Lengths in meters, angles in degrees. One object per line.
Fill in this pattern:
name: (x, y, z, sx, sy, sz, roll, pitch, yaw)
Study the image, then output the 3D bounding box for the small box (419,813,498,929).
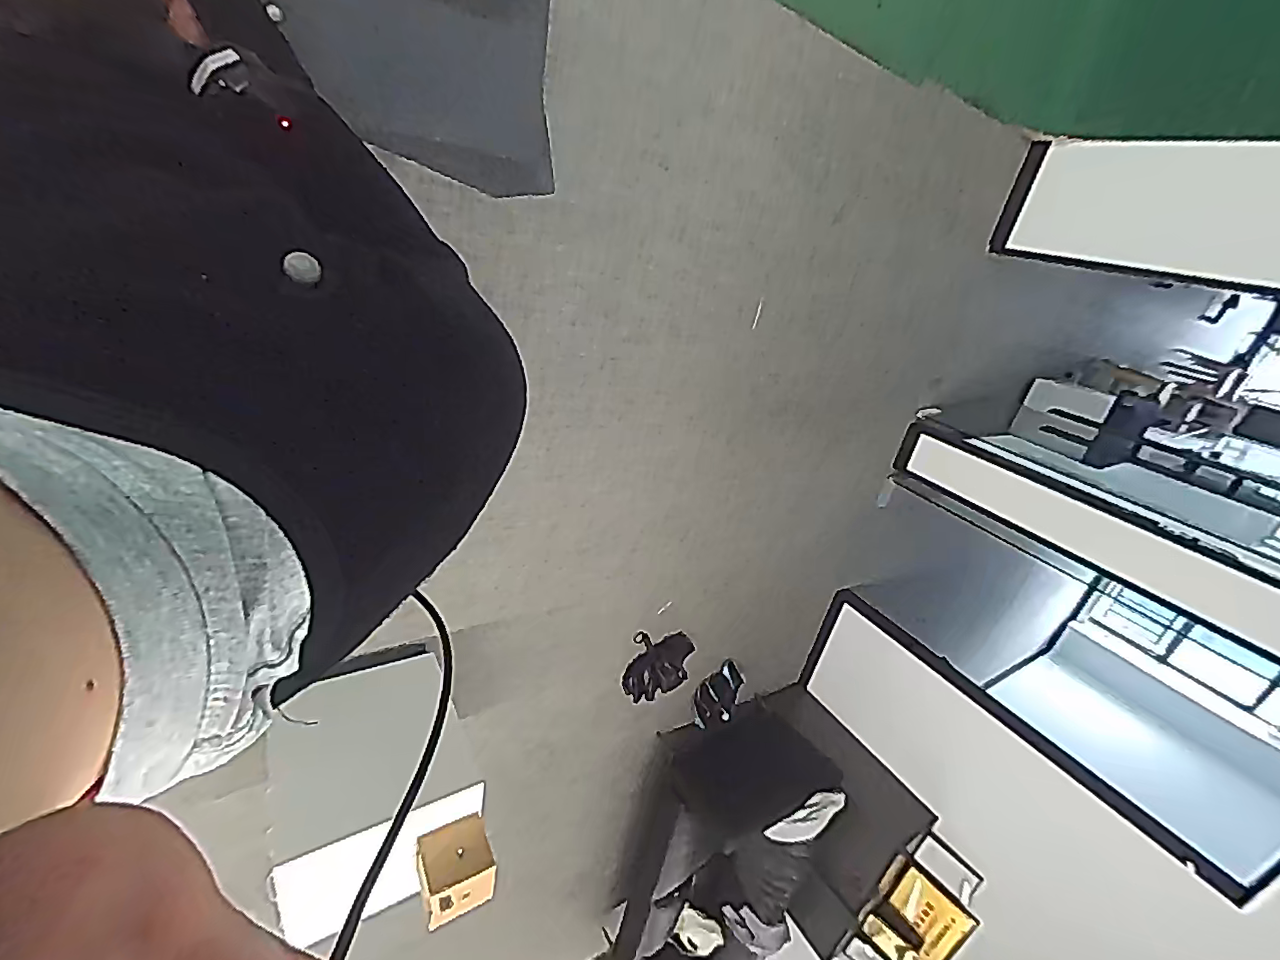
small box: (-0.518, 1.094, 1.525, 0.179, 0.176, 0.168, -8, 122, -33)
